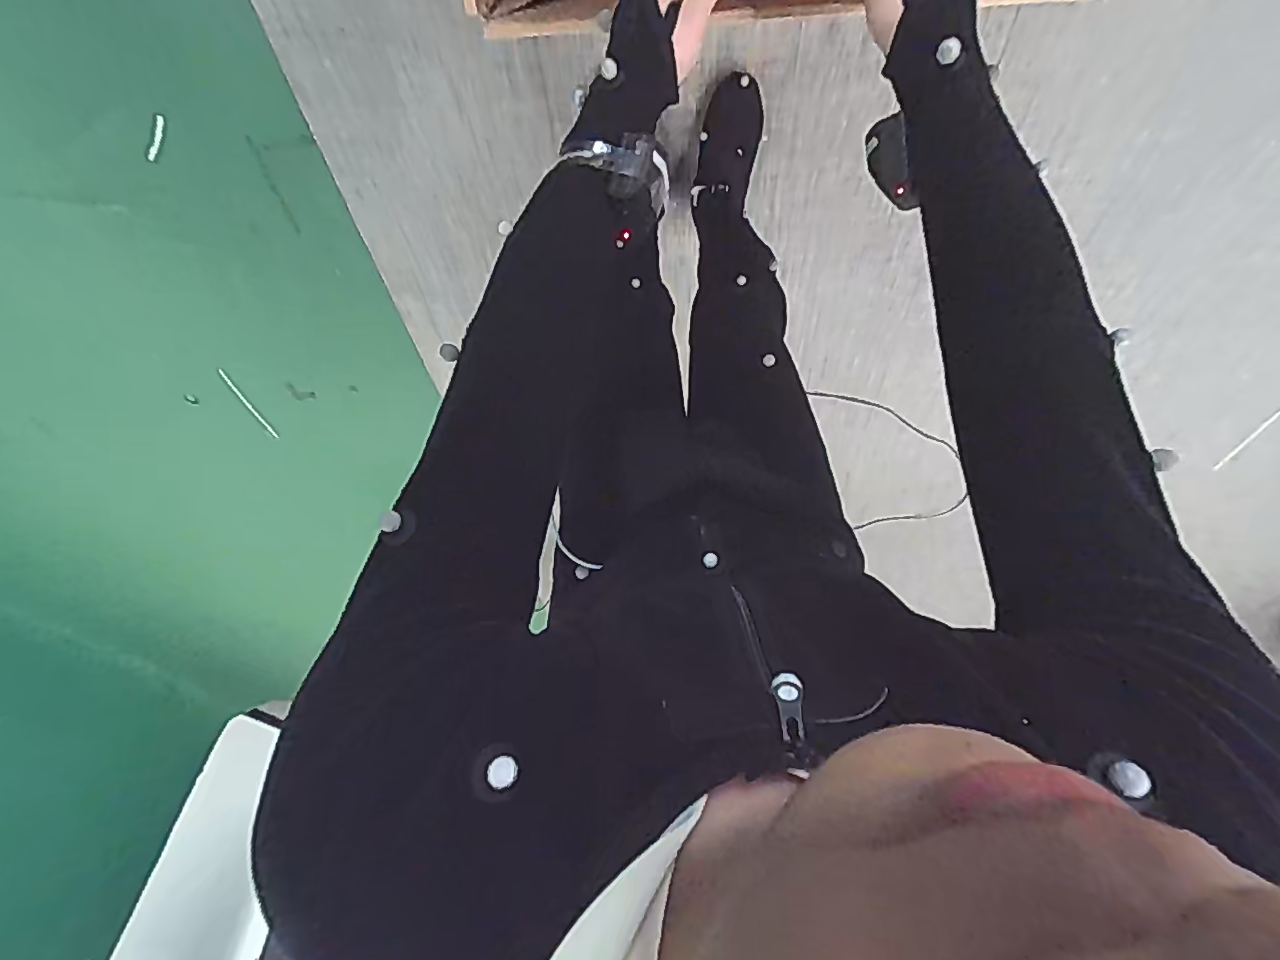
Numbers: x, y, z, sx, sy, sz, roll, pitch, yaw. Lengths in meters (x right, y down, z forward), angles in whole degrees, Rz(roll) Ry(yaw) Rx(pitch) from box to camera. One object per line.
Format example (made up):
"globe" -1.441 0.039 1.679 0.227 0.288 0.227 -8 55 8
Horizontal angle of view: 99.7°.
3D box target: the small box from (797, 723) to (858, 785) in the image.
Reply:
"small box" 0.642 0.950 1.873 0.168 0.176 0.179 -3 143 9

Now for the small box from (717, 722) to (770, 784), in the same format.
"small box" 0.364 0.967 1.919 0.179 0.176 0.168 -3 142 9
